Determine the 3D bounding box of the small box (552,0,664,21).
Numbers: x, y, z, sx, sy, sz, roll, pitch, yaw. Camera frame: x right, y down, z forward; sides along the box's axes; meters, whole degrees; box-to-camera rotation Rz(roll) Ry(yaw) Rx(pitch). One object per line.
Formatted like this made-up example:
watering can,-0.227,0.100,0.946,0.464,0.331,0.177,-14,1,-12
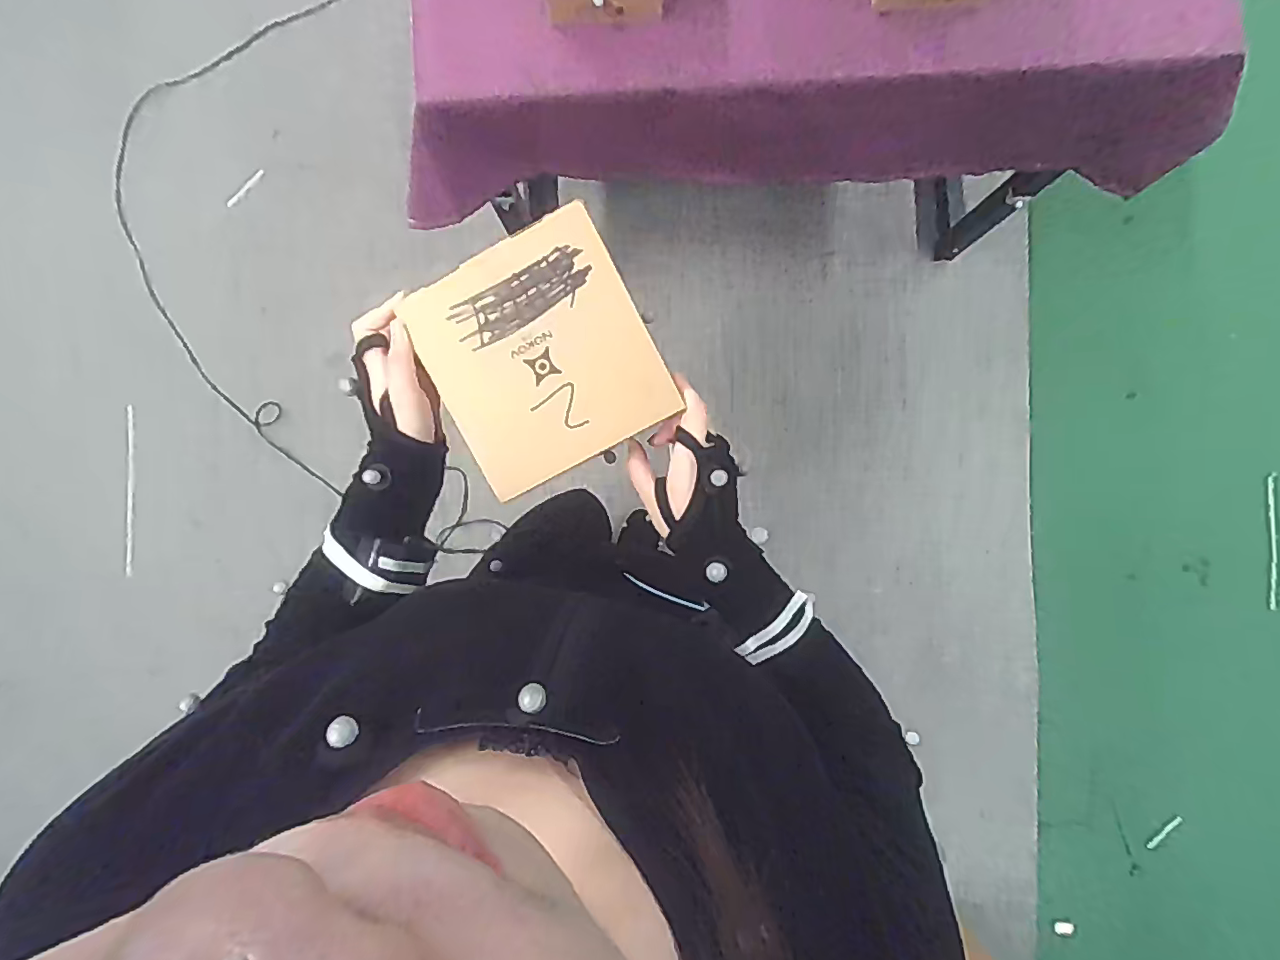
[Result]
small box,-0.046,-0.760,0.709,0.168,0.176,0.179,0,90,0

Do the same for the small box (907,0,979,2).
small box,0.421,-0.774,0.706,0.168,0.176,0.179,-1,90,0
